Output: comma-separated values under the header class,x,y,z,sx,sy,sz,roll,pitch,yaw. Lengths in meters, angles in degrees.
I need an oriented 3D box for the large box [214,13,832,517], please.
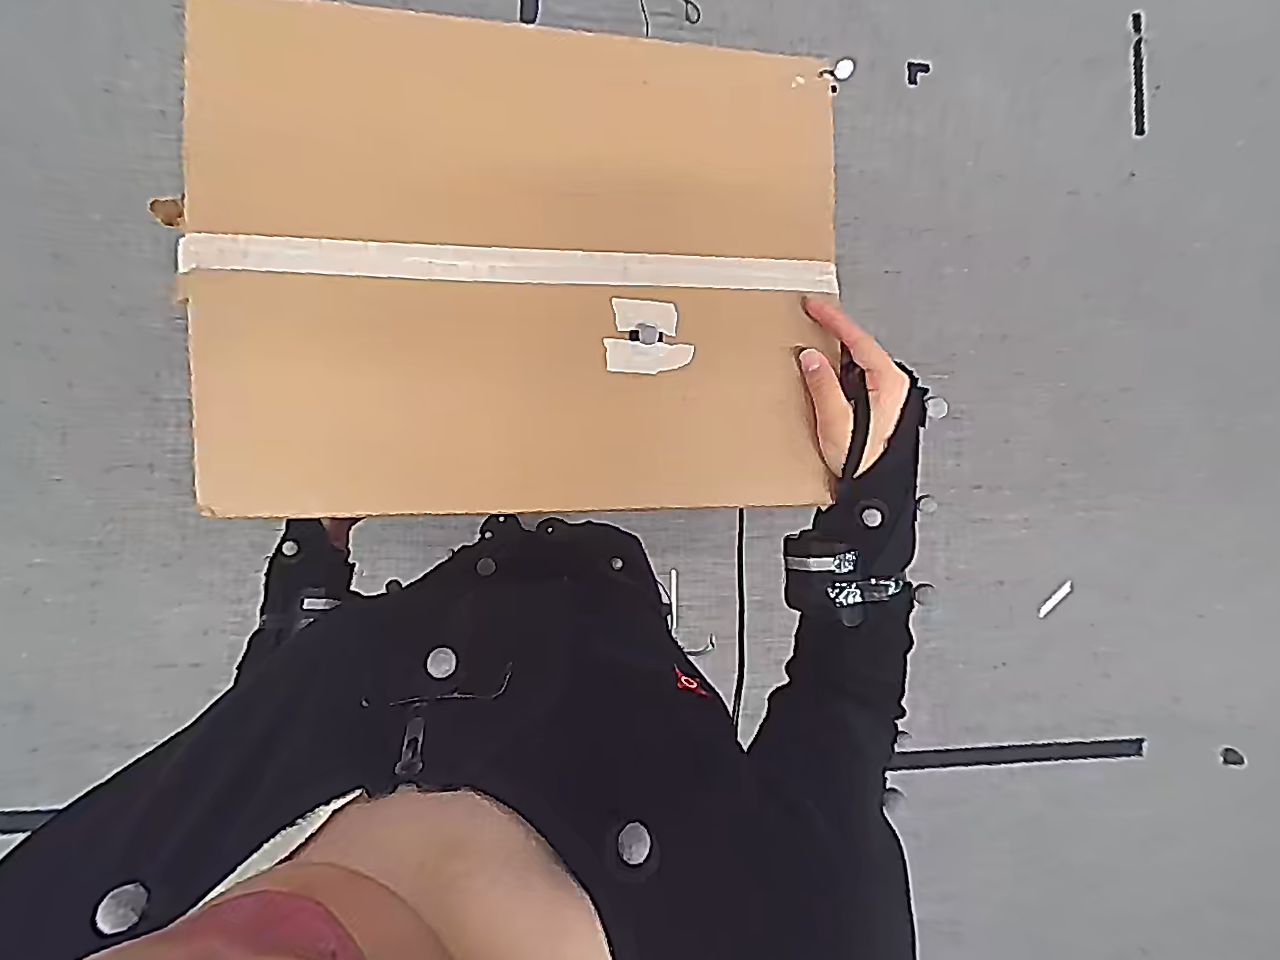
class,x,y,z,sx,sy,sz,roll,pitch,yaw
large box,-0.085,-0.137,0.506,0.408,0.320,0.320,-1,91,-10
